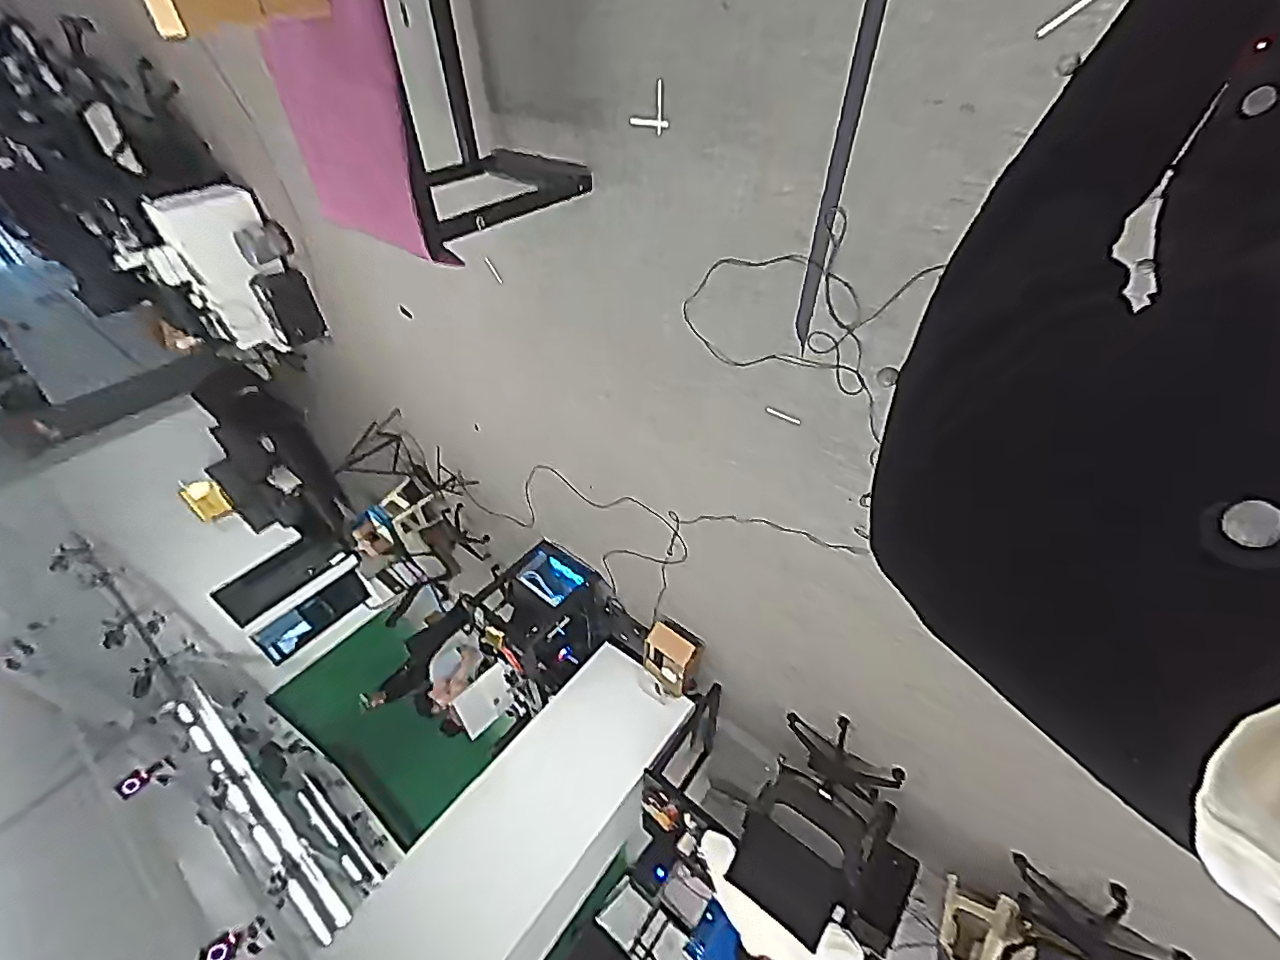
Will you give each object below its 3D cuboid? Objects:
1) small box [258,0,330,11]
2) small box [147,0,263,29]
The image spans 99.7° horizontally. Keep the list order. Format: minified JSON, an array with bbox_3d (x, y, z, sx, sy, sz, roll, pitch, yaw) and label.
[{"bbox_3d":[-0.837,-1.166,1.207,0.168,0.176,0.179,28,140,30],"label":"small box"},{"bbox_3d":[-0.933,-1.061,1.125,0.168,0.176,0.179,28,140,30],"label":"small box"}]
